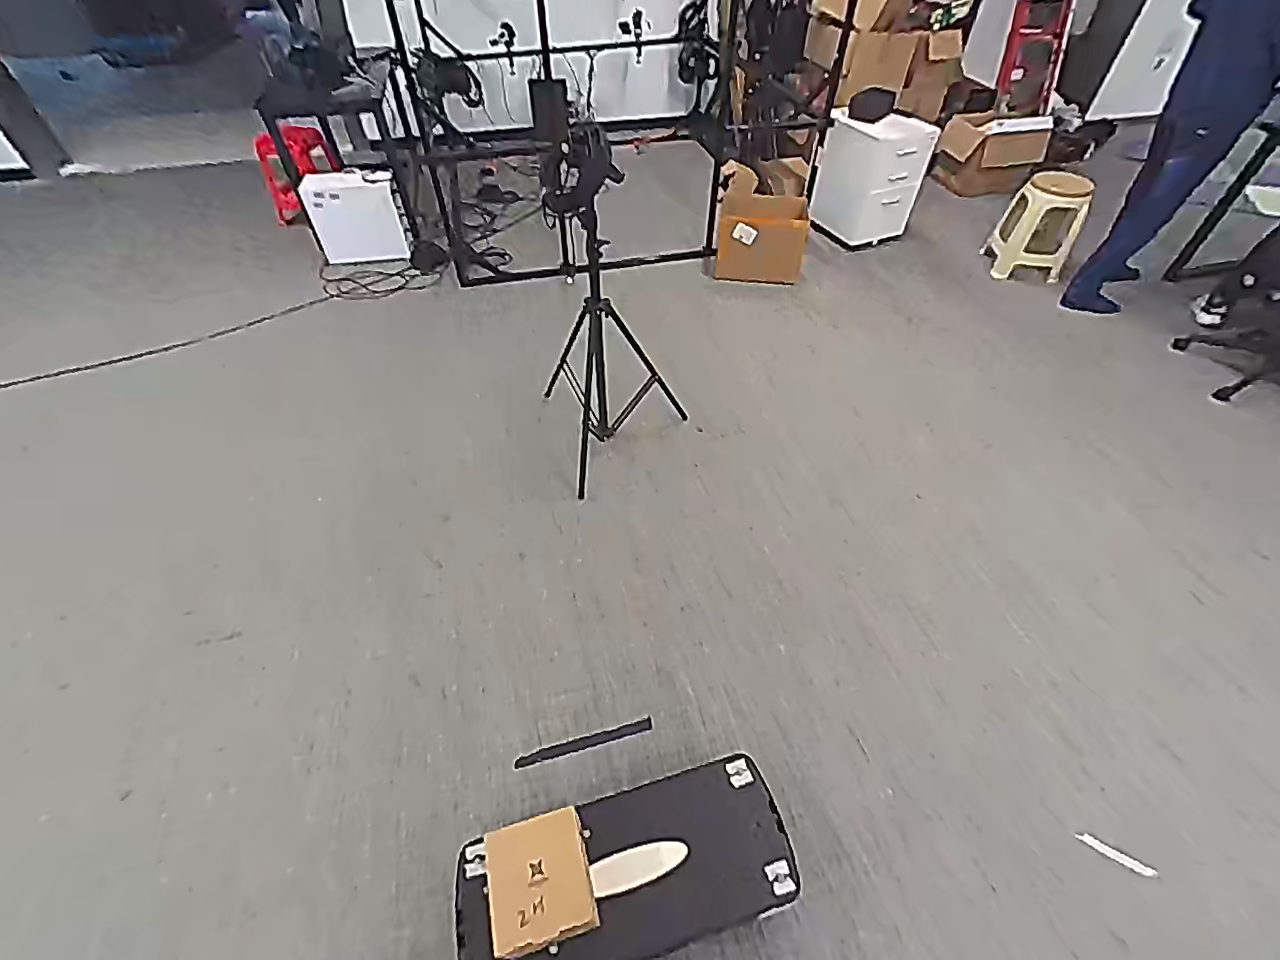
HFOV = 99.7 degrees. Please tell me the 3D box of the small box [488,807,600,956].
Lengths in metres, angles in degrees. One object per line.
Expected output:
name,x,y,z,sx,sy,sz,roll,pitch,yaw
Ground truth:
small box,-0.173,0.731,0.981,0.168,0.176,0.179,-13,49,-11
